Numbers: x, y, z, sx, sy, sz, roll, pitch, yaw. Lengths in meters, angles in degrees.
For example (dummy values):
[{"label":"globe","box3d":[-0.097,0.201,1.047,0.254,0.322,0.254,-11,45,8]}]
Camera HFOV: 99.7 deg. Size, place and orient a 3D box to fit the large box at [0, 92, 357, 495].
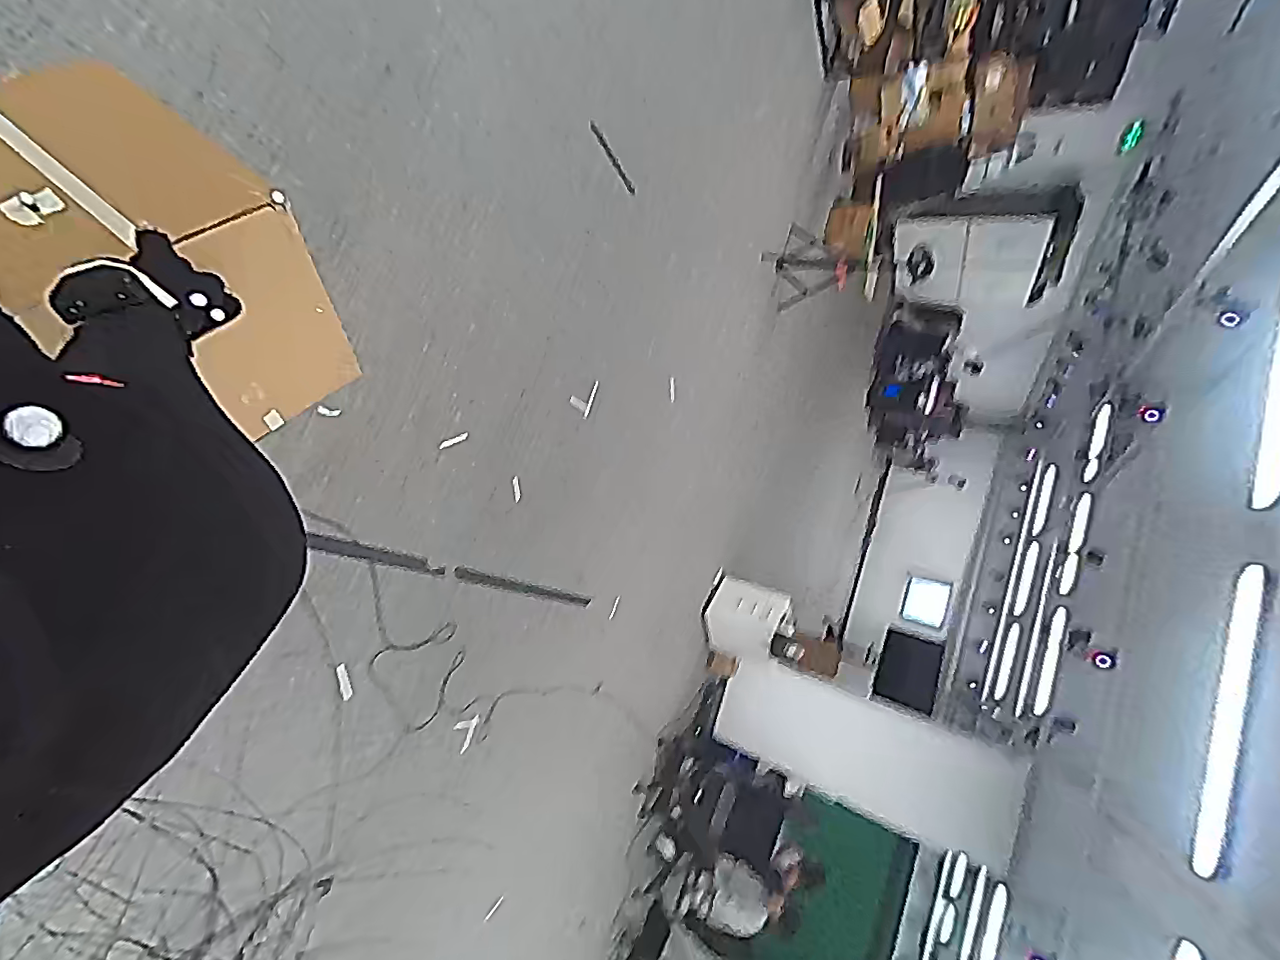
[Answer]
[{"label":"large box","box3d":[-0.696,-0.258,0.764,0.320,0.408,0.320,-45,166,-29]}]
